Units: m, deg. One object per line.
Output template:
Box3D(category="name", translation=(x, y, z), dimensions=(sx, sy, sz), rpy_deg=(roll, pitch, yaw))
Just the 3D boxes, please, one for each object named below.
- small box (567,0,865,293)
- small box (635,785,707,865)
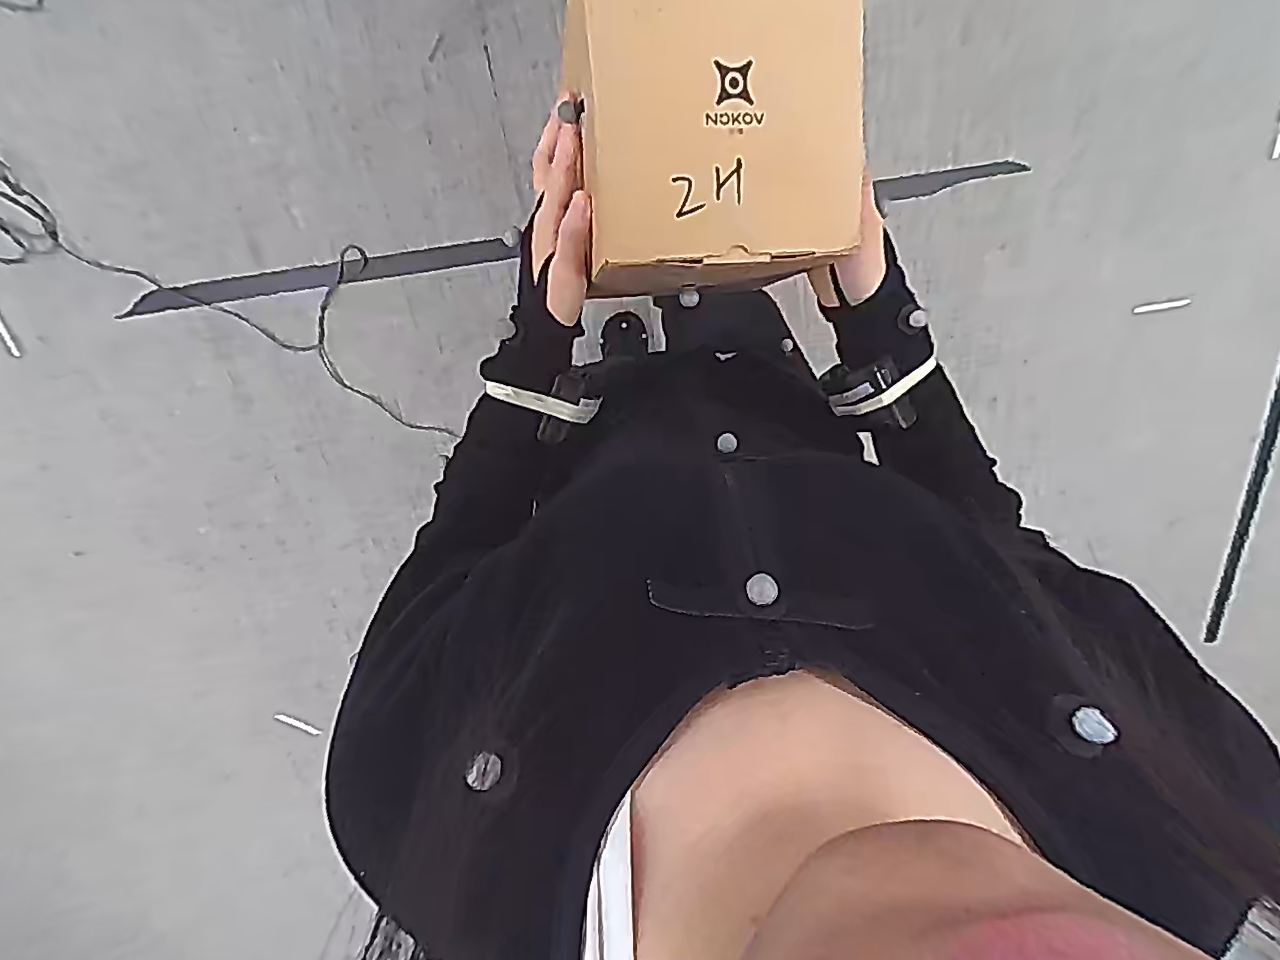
Box3D(category="small box", translation=(0.039, -0.240, 0.388), dimensions=(0.168, 0.176, 0.179), rpy_deg=(-6, 102, -9))
Box3D(category="small box", translation=(0.088, 0.993, 1.520), dimensions=(0.179, 0.176, 0.168), rpy_deg=(-11, 110, 1))
